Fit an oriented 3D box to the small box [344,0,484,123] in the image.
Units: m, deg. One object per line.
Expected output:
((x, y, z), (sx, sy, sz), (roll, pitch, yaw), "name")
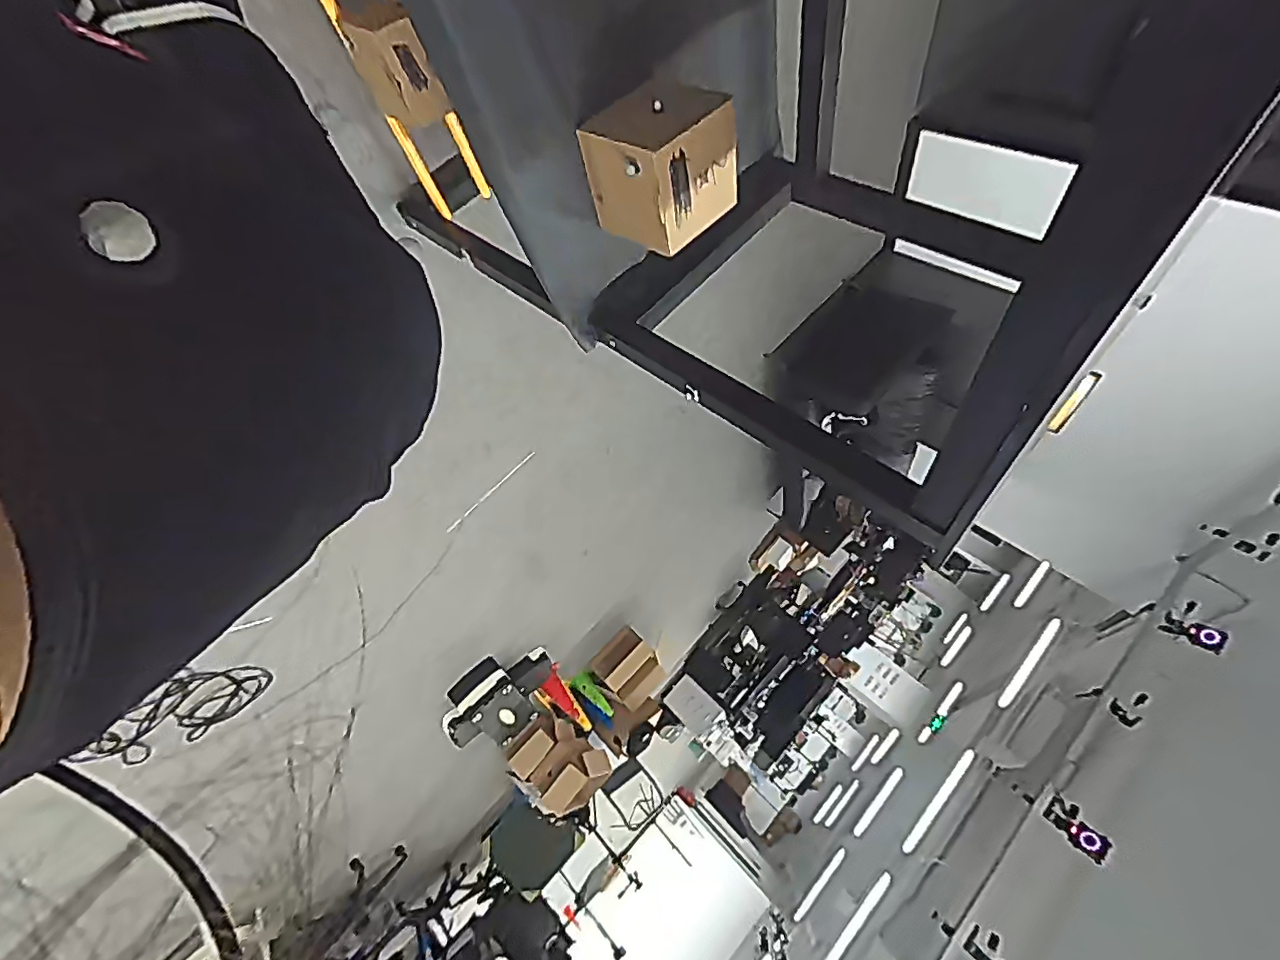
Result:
((-0.453, -0.851, 1.074), (0.179, 0.176, 0.168), (-43, 150, -17), "small box")
